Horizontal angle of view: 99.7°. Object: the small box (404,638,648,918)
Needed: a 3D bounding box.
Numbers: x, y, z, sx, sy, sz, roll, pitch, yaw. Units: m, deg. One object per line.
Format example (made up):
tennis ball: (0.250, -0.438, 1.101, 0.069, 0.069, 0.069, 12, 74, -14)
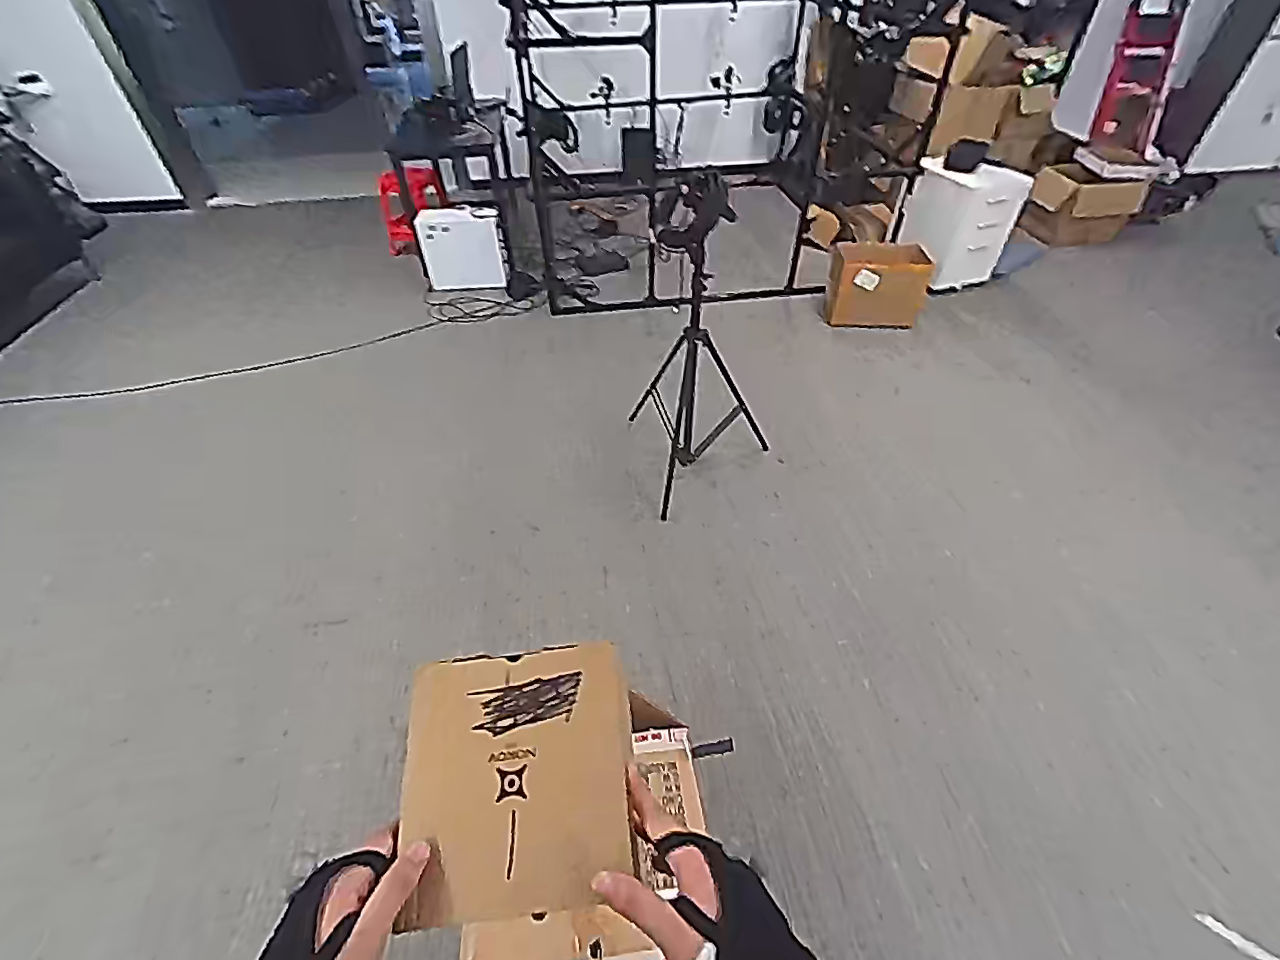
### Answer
small box: (-0.083, 0.255, 0.476, 0.168, 0.176, 0.179, -6, 59, -1)
